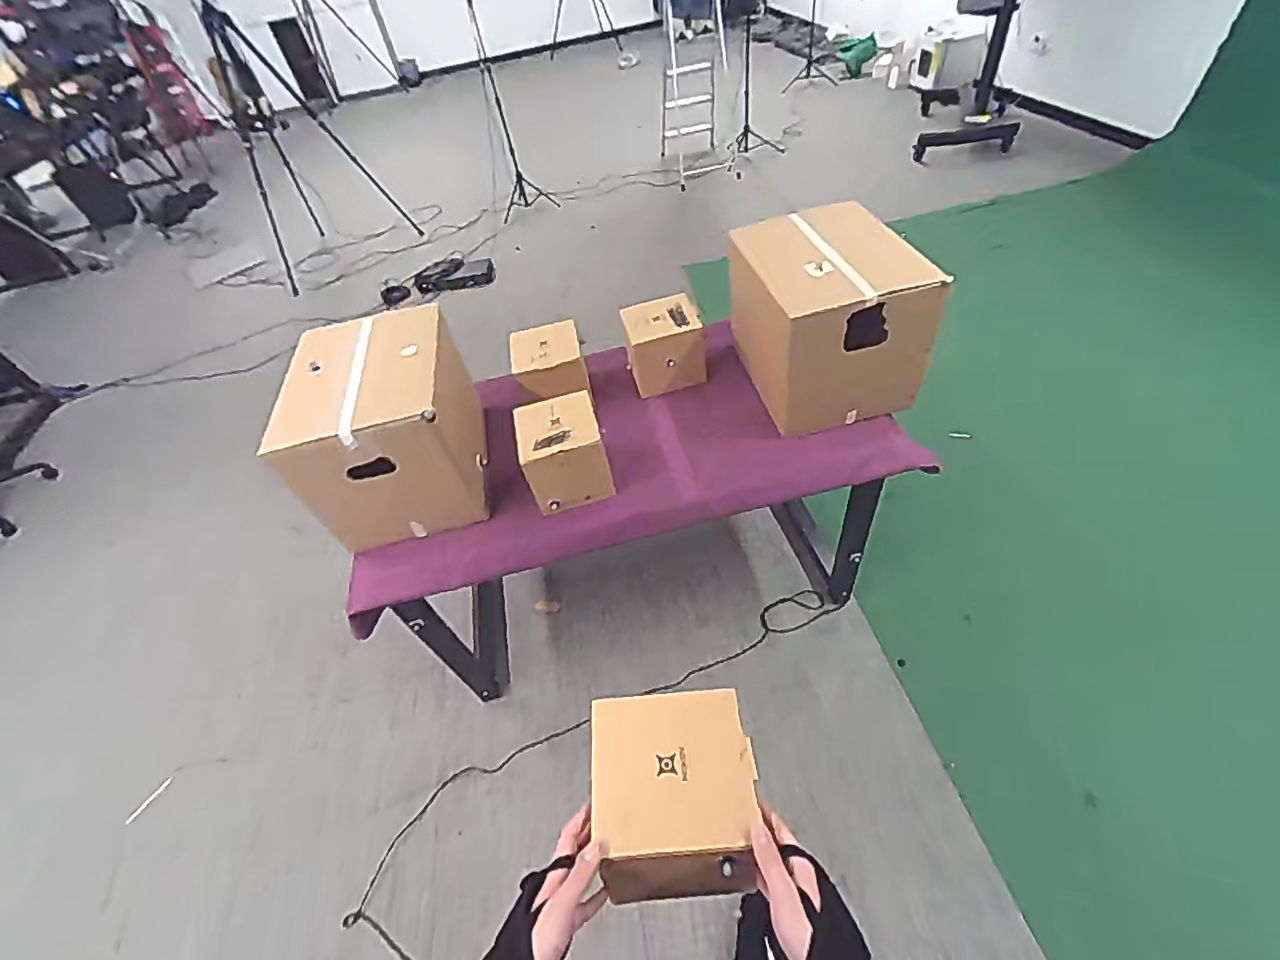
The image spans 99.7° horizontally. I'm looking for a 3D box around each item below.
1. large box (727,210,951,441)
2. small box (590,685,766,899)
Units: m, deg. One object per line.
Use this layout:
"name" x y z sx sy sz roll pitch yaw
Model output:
"large box" 0.407 -0.356 1.233 0.320 0.320 0.408 -14 48 -1
"small box" 0.038 0.365 0.634 0.179 0.176 0.168 -4 39 -1
